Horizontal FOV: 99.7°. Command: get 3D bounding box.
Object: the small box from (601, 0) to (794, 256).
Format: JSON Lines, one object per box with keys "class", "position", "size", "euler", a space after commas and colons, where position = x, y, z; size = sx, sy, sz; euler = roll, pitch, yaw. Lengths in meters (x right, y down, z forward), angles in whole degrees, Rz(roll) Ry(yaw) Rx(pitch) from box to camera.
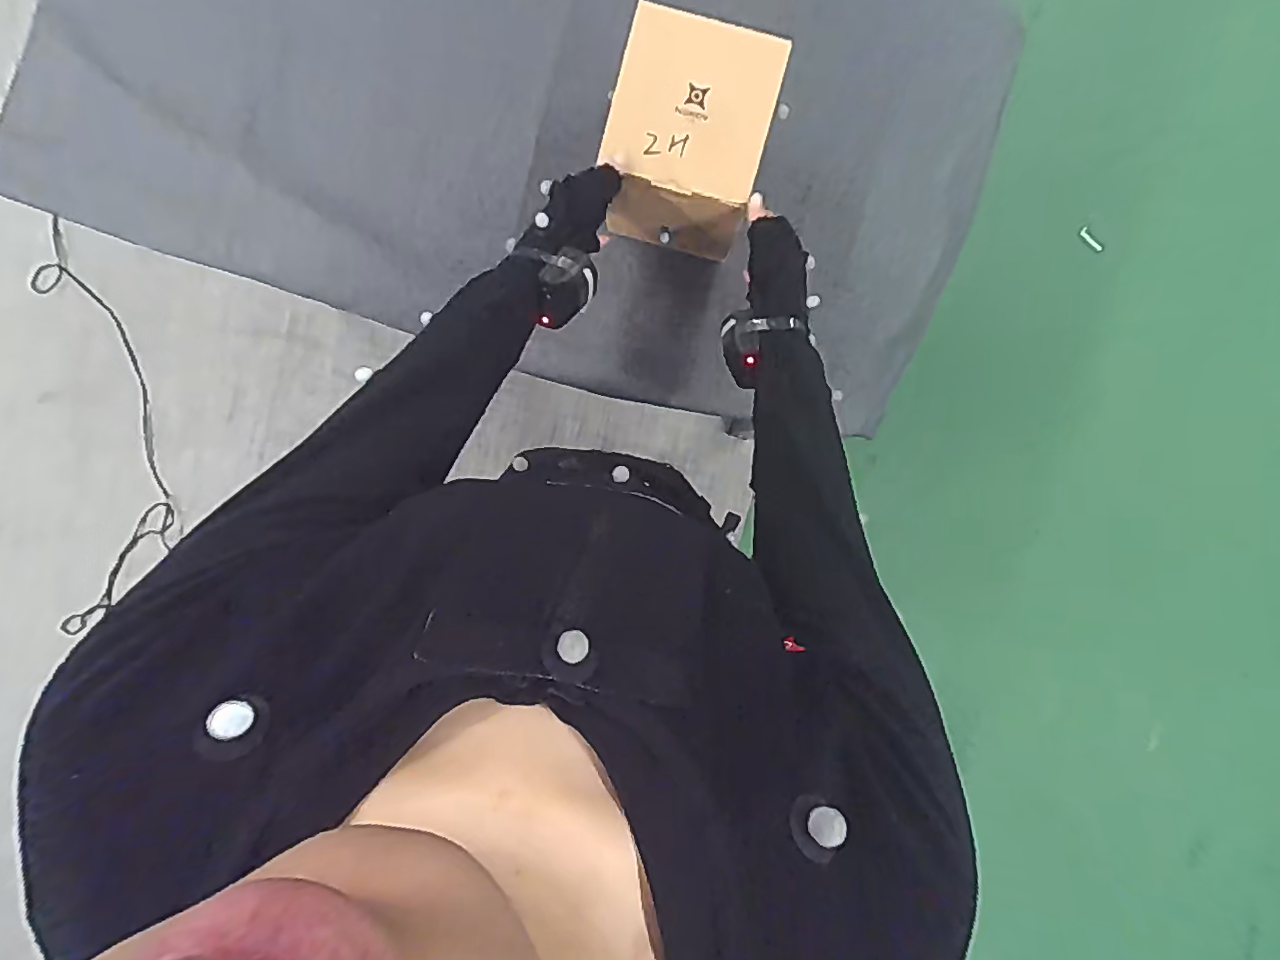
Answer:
{"class": "small box", "position": [0.059, -0.396, 0.638], "size": [0.168, 0.176, 0.179], "euler": [16, 94, 0]}
